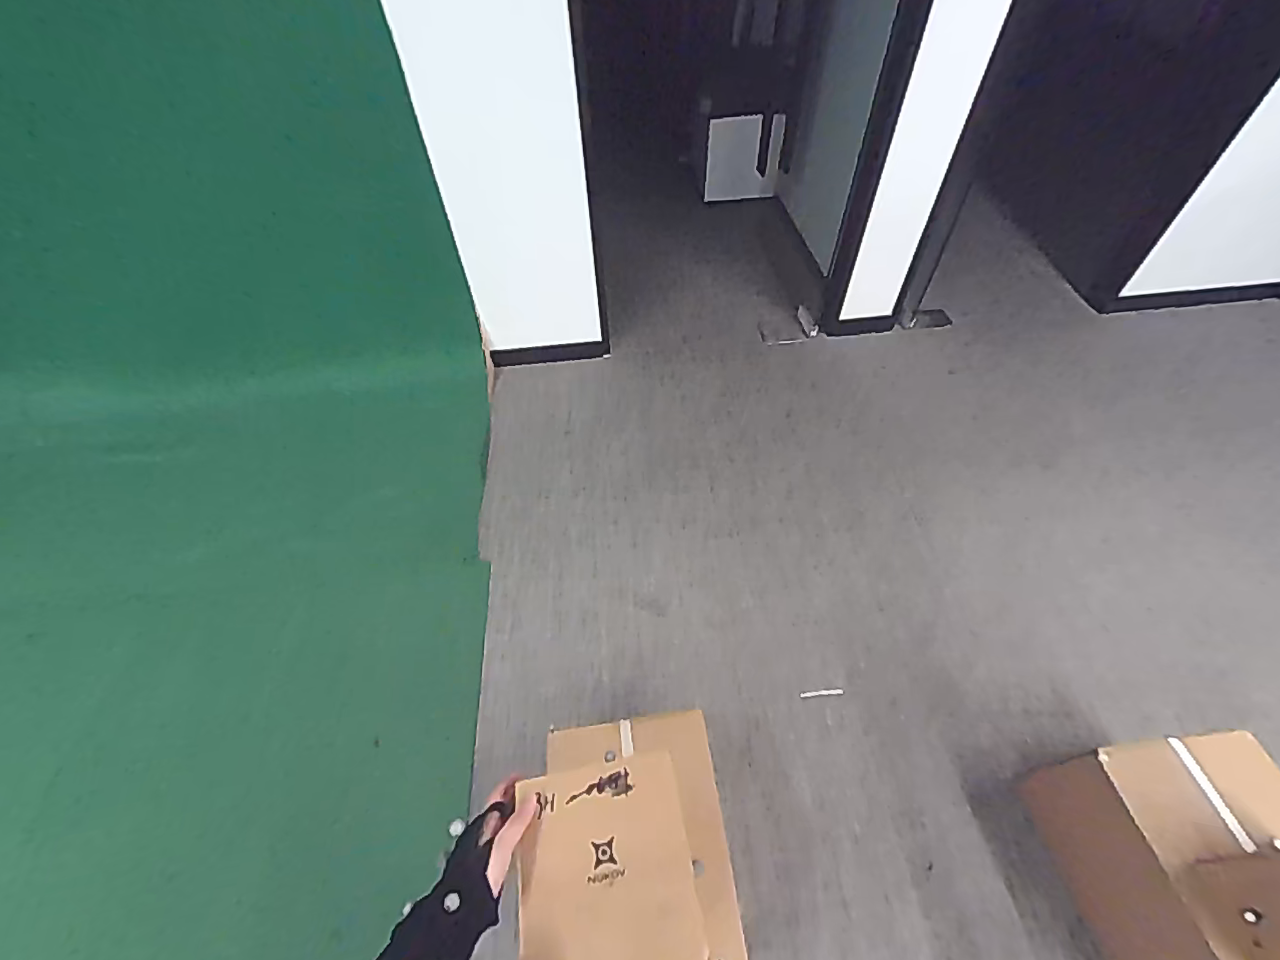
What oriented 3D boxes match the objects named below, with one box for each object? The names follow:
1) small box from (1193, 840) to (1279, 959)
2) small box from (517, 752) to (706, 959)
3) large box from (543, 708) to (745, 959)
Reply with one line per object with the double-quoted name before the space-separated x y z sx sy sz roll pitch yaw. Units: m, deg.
"small box" 1.002 0.632 0.793 0.179 0.176 0.168 -8 52 -3
"small box" -0.031 0.415 0.577 0.168 0.176 0.179 -9 52 -5
"large box" -0.006 0.720 1.065 0.320 0.320 0.408 -6 51 -3
